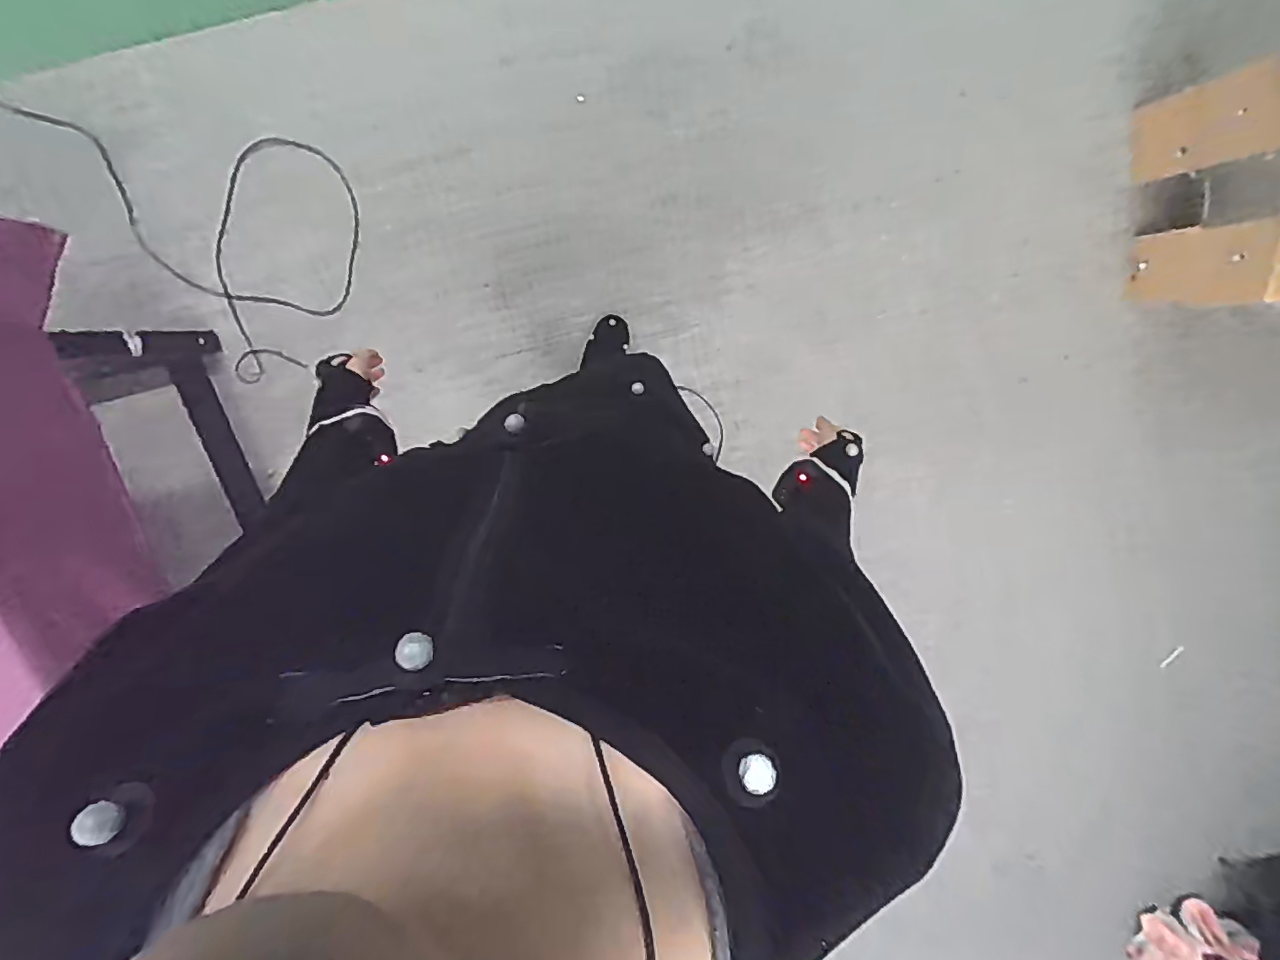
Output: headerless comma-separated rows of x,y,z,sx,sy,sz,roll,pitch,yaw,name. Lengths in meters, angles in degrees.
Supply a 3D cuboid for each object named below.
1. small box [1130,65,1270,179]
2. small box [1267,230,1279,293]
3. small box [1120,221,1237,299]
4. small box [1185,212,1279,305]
1.327,-0.843,1.296,0.168,0.176,0.179,-14,106,-1,small box
1.419,-0.468,1.066,0.179,0.176,0.168,-8,105,-2,small box
1.395,-0.557,1.379,0.179,0.176,0.168,-5,105,-1,small box
1.405,-0.498,1.226,0.168,0.176,0.179,-5,104,-2,small box
